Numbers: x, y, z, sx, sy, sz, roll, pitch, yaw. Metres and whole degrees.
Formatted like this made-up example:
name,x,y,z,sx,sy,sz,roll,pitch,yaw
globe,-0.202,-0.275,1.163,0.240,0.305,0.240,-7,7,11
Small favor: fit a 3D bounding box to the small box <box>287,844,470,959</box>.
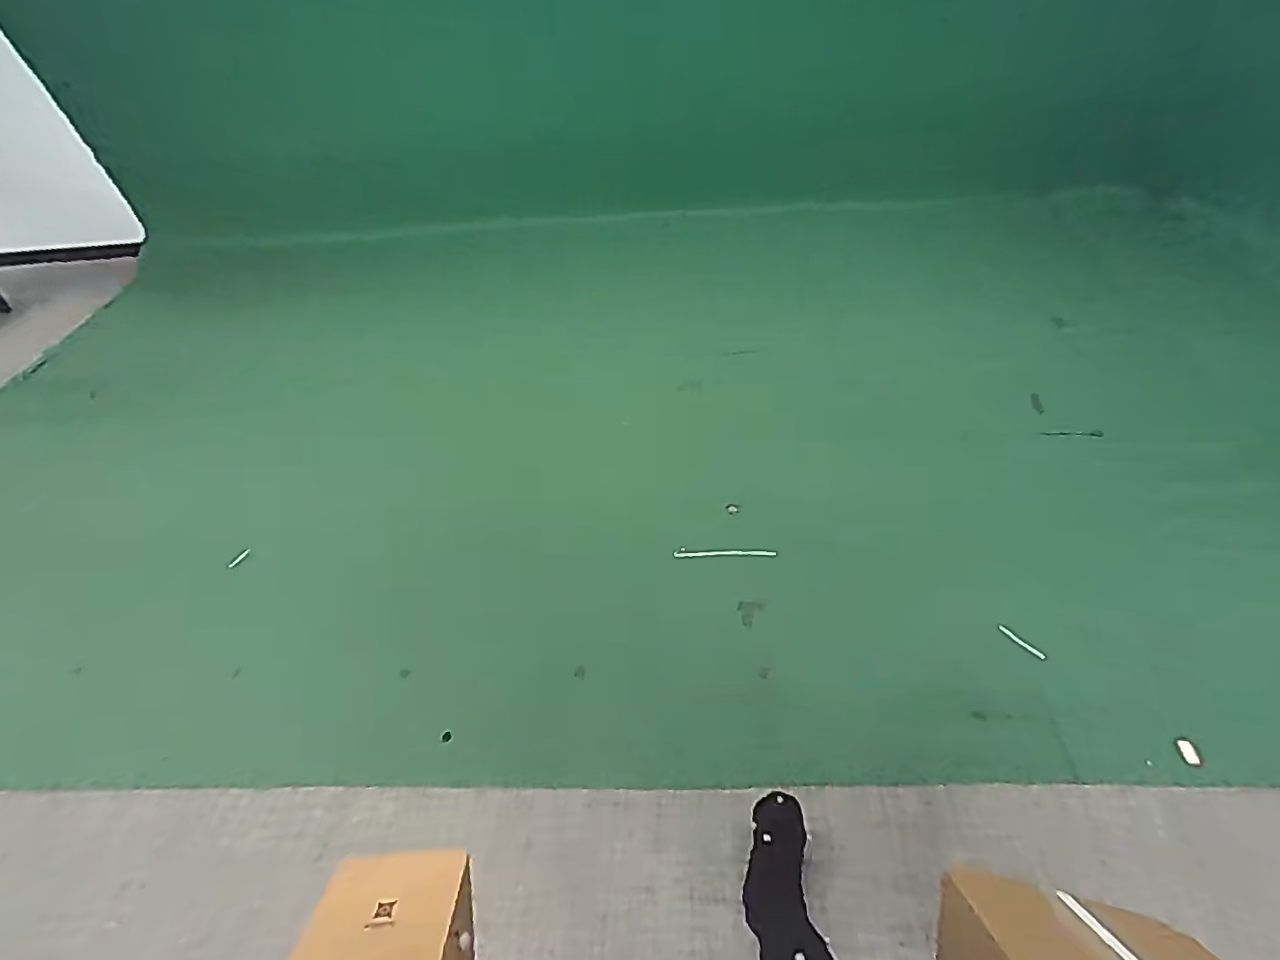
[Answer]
name,x,y,z,sx,sy,sz,roll,pitch,yaw
small box,-0.305,0.586,0.652,0.168,0.176,0.179,0,10,-7
